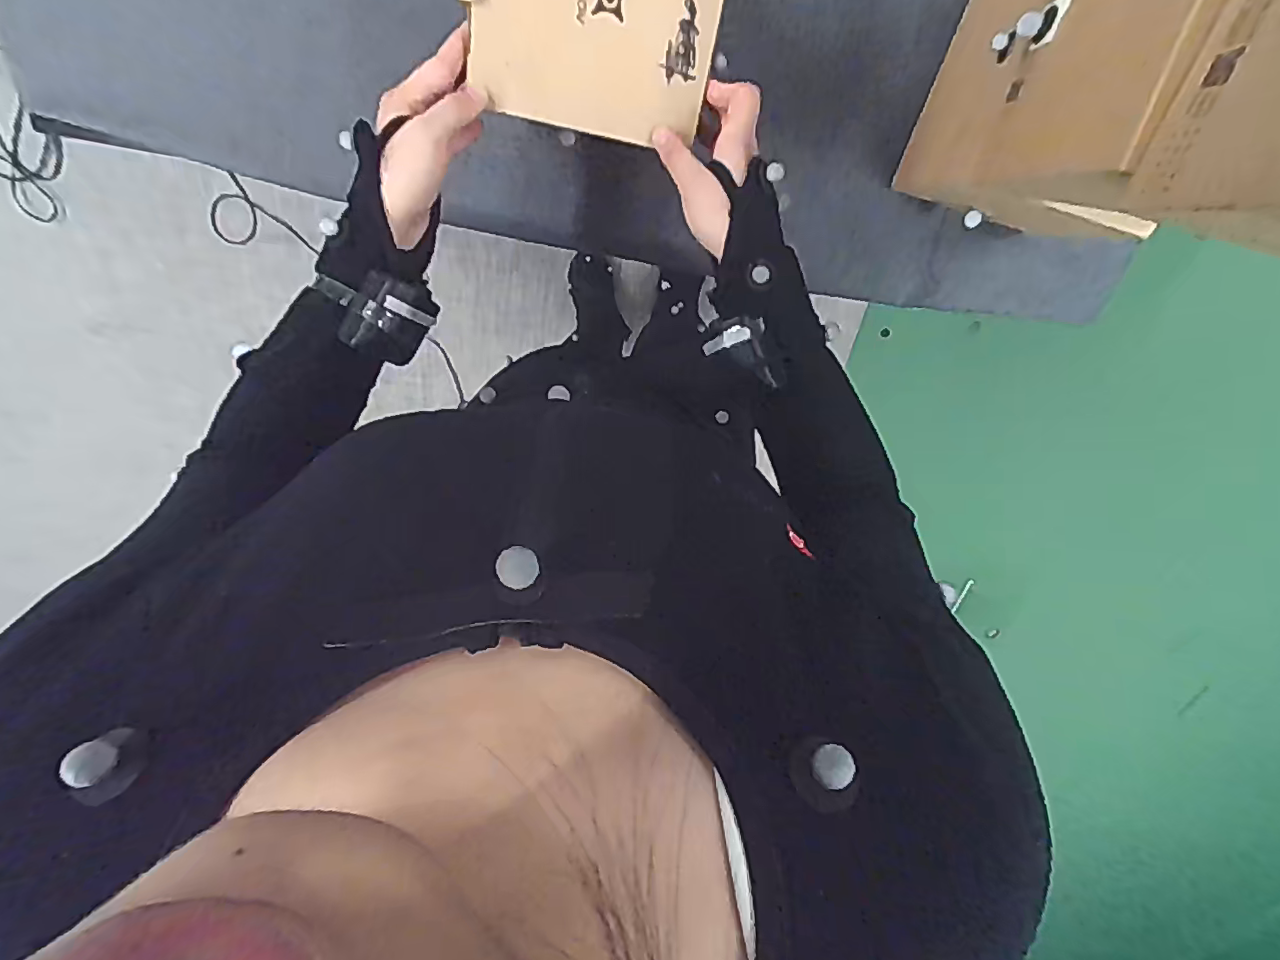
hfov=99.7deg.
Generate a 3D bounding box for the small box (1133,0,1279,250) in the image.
[{"bbox_3d":[0.351,-0.164,0.184,0.179,0.176,0.168,12,116,-4],"label":"small box"}]

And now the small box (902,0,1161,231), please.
[{"bbox_3d":[0.361,-0.333,0.464,0.168,0.176,0.179,14,117,-5],"label":"small box"}]

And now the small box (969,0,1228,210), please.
[{"bbox_3d":[0.346,-0.260,0.320,0.179,0.176,0.168,8,116,-1],"label":"small box"}]
